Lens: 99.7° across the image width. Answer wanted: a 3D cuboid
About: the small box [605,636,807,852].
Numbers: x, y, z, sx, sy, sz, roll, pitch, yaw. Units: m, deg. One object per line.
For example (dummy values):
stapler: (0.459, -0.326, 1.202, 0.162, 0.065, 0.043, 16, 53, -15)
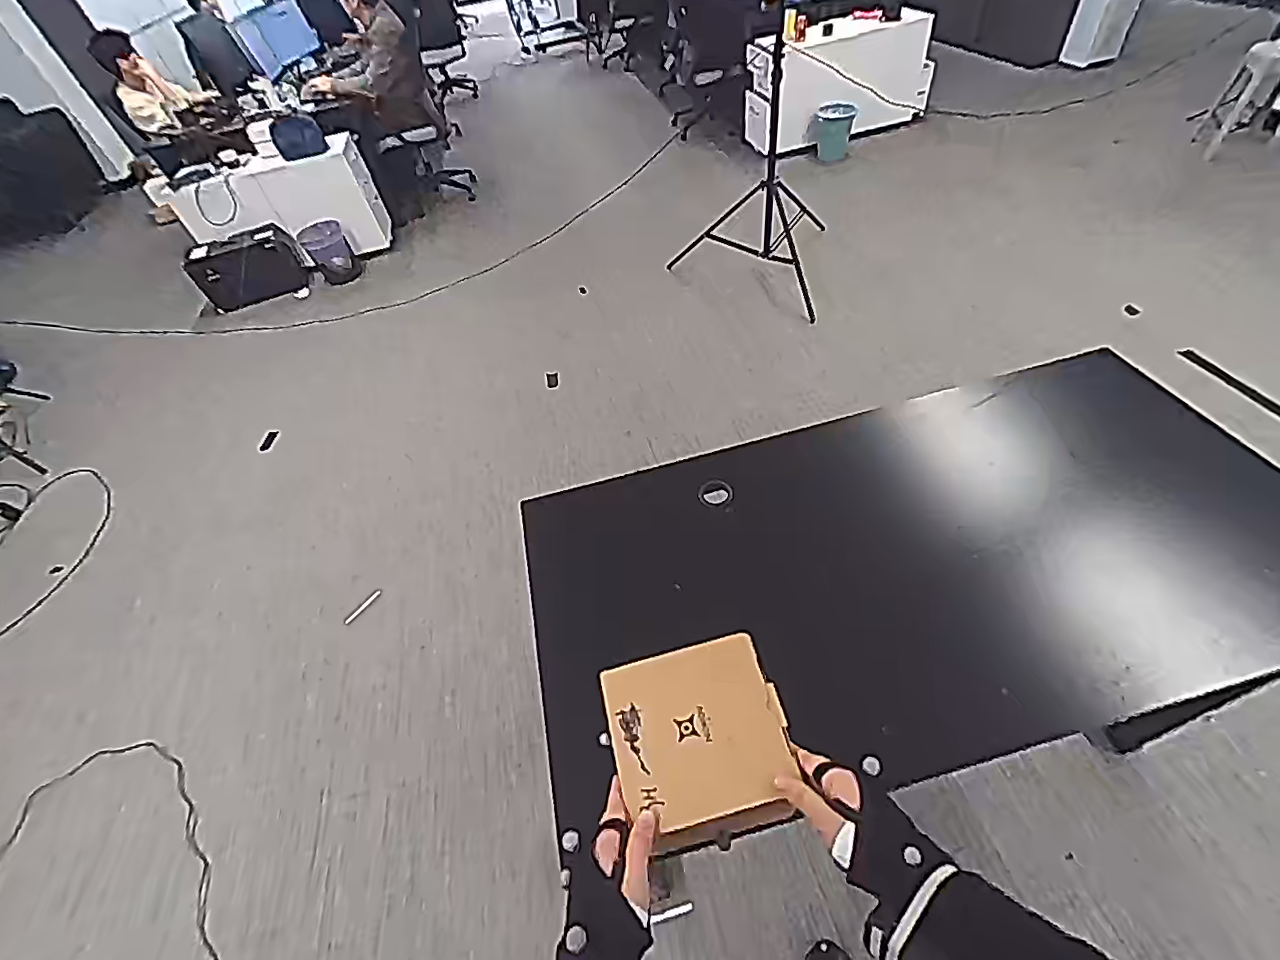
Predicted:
small box: (0.067, 0.304, 0.618, 0.179, 0.176, 0.168, -13, 51, -3)
